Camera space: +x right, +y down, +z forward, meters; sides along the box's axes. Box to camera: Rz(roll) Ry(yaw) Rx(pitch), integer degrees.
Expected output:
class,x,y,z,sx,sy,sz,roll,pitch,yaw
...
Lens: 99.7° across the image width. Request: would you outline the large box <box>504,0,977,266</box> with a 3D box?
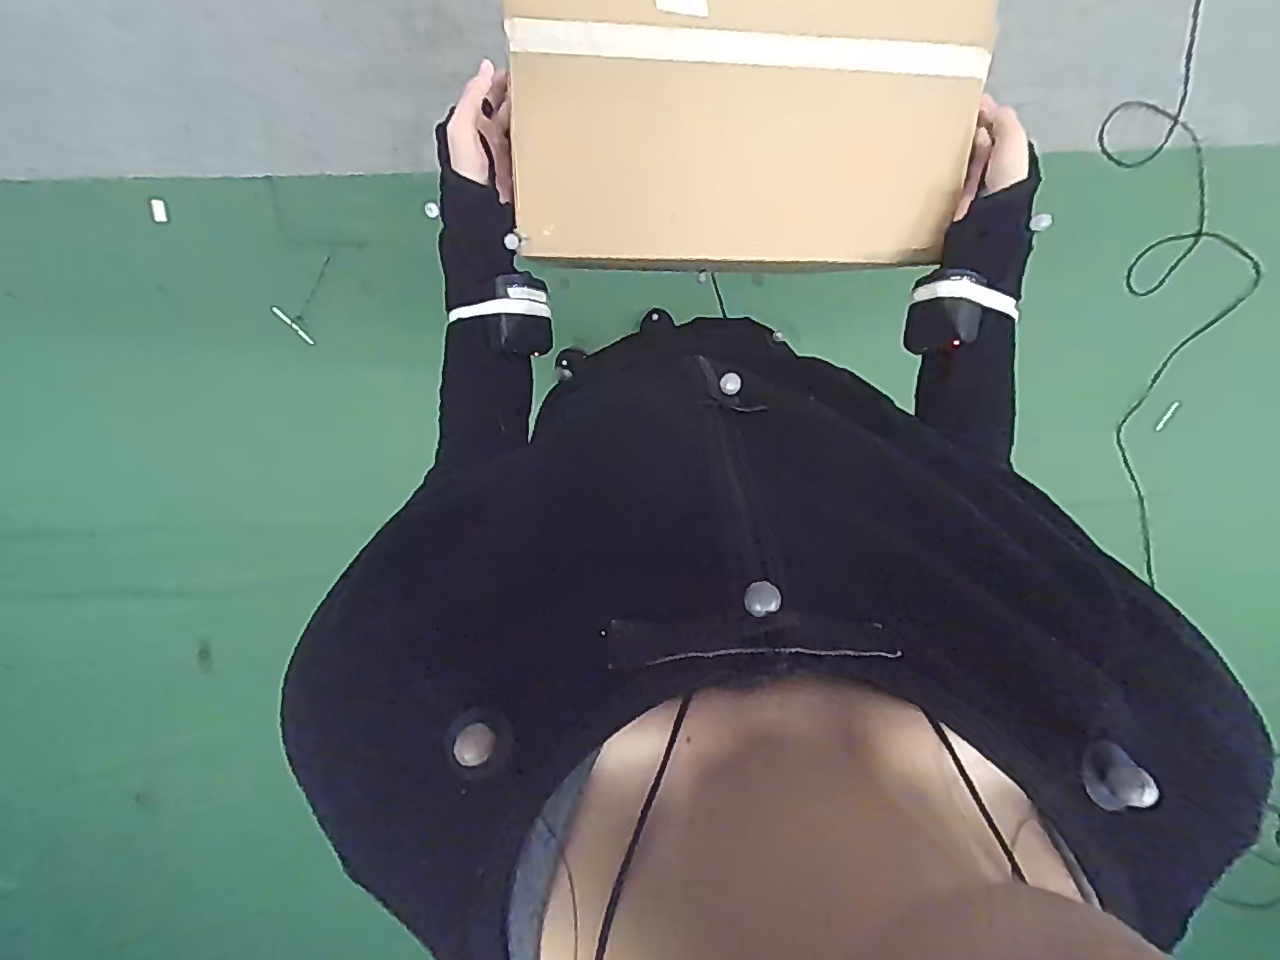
class,x,y,z,sx,sy,sz,roll,pitch,yaw
large box,0.074,-0.407,0.598,0.408,0.320,0.320,-1,110,-6
